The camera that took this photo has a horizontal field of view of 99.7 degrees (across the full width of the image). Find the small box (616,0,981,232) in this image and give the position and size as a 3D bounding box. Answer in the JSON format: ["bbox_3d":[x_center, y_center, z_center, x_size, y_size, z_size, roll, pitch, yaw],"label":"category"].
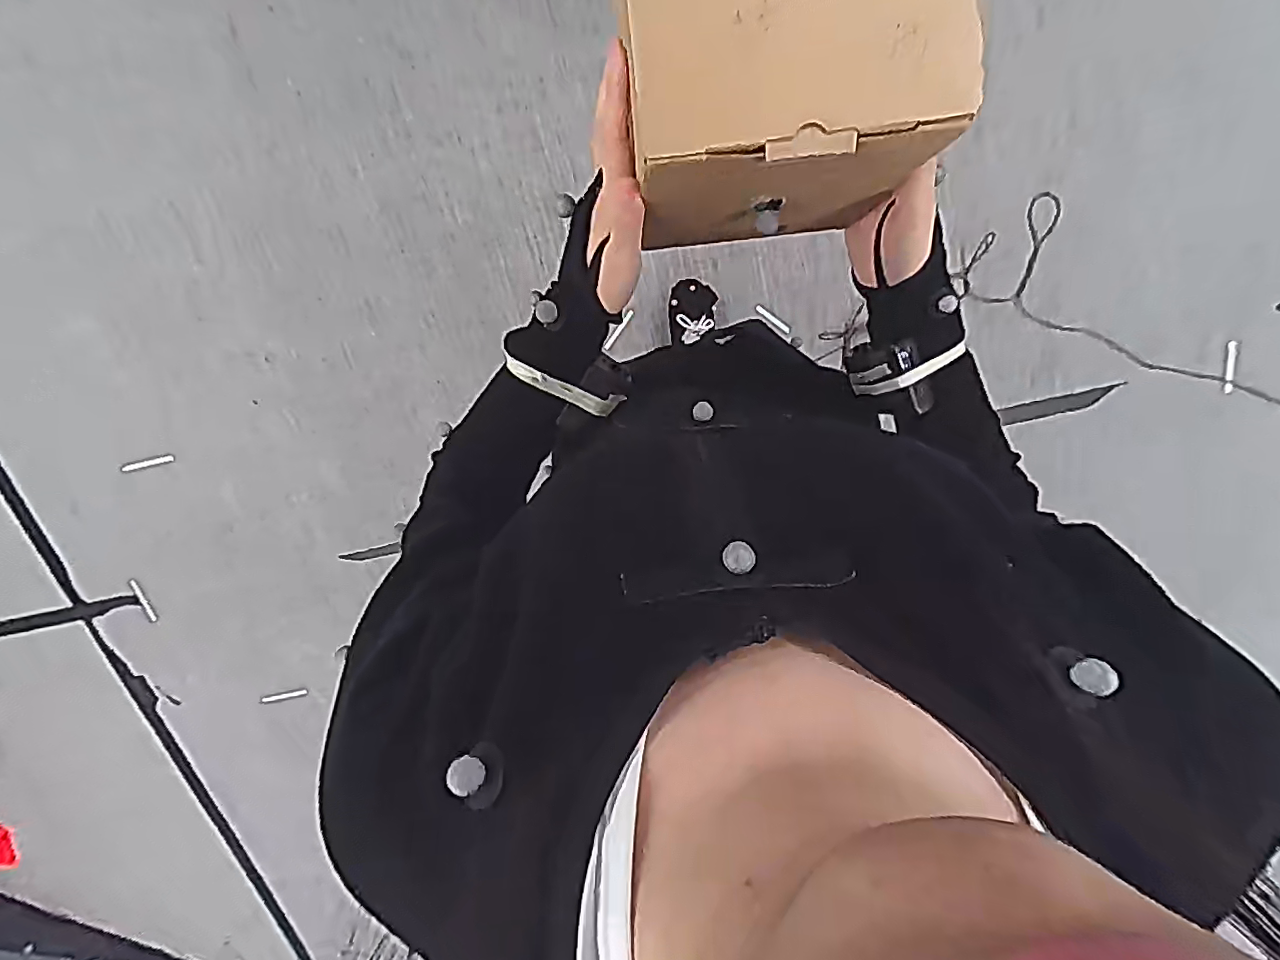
[{"bbox_3d":[0.073,-0.263,0.325,0.168,0.176,0.179,-7,100,0],"label":"small box"}]
